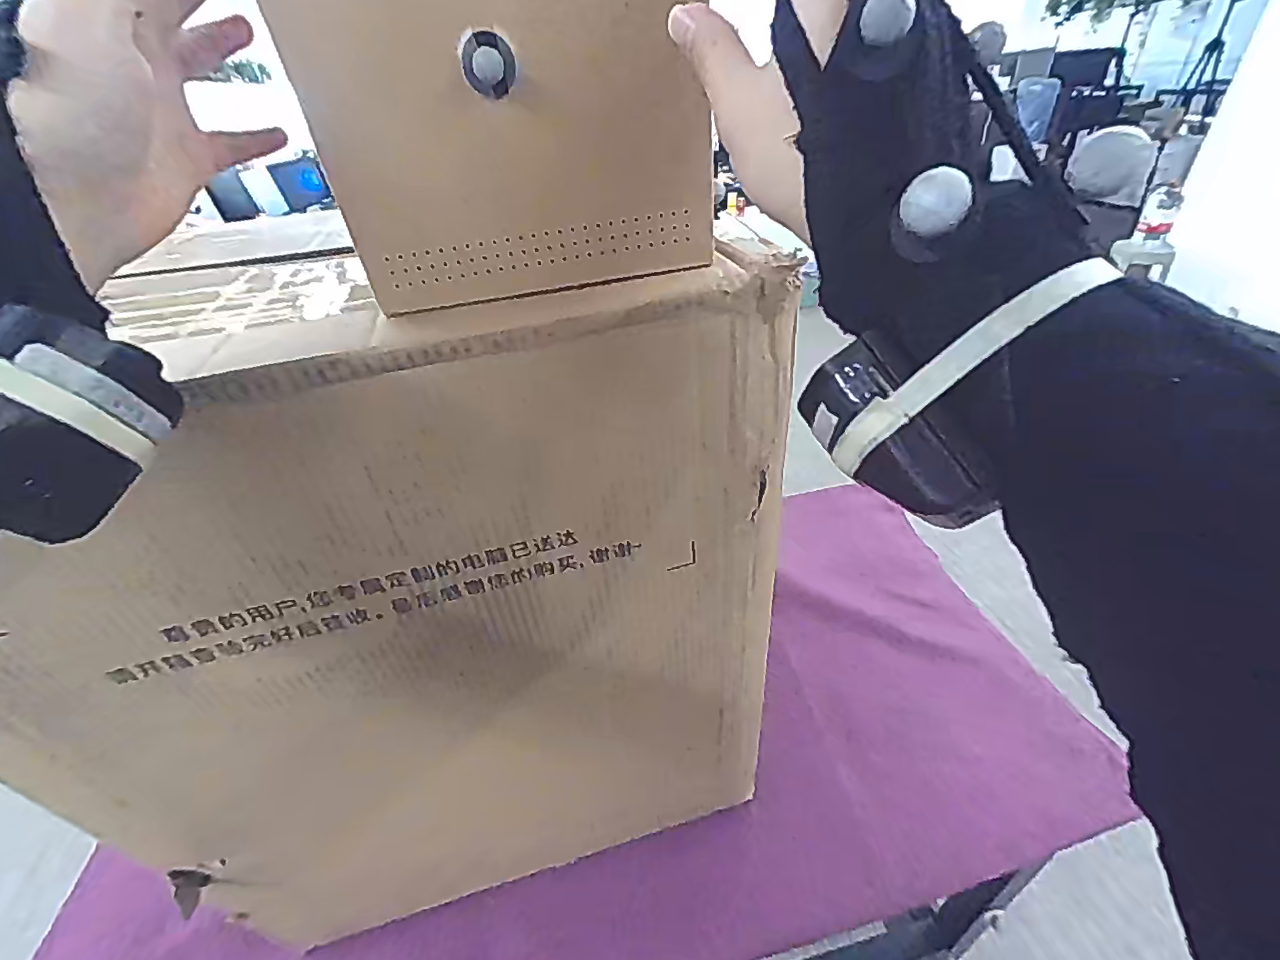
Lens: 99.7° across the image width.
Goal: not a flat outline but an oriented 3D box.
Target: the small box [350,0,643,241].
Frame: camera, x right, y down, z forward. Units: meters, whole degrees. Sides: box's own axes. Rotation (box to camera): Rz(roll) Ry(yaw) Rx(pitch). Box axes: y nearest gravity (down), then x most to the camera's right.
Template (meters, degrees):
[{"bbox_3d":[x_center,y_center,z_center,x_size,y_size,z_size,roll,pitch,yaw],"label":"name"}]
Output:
[{"bbox_3d":[-0.105,-0.302,0.435,0.179,0.176,0.168,-13,36,-9],"label":"small box"}]
